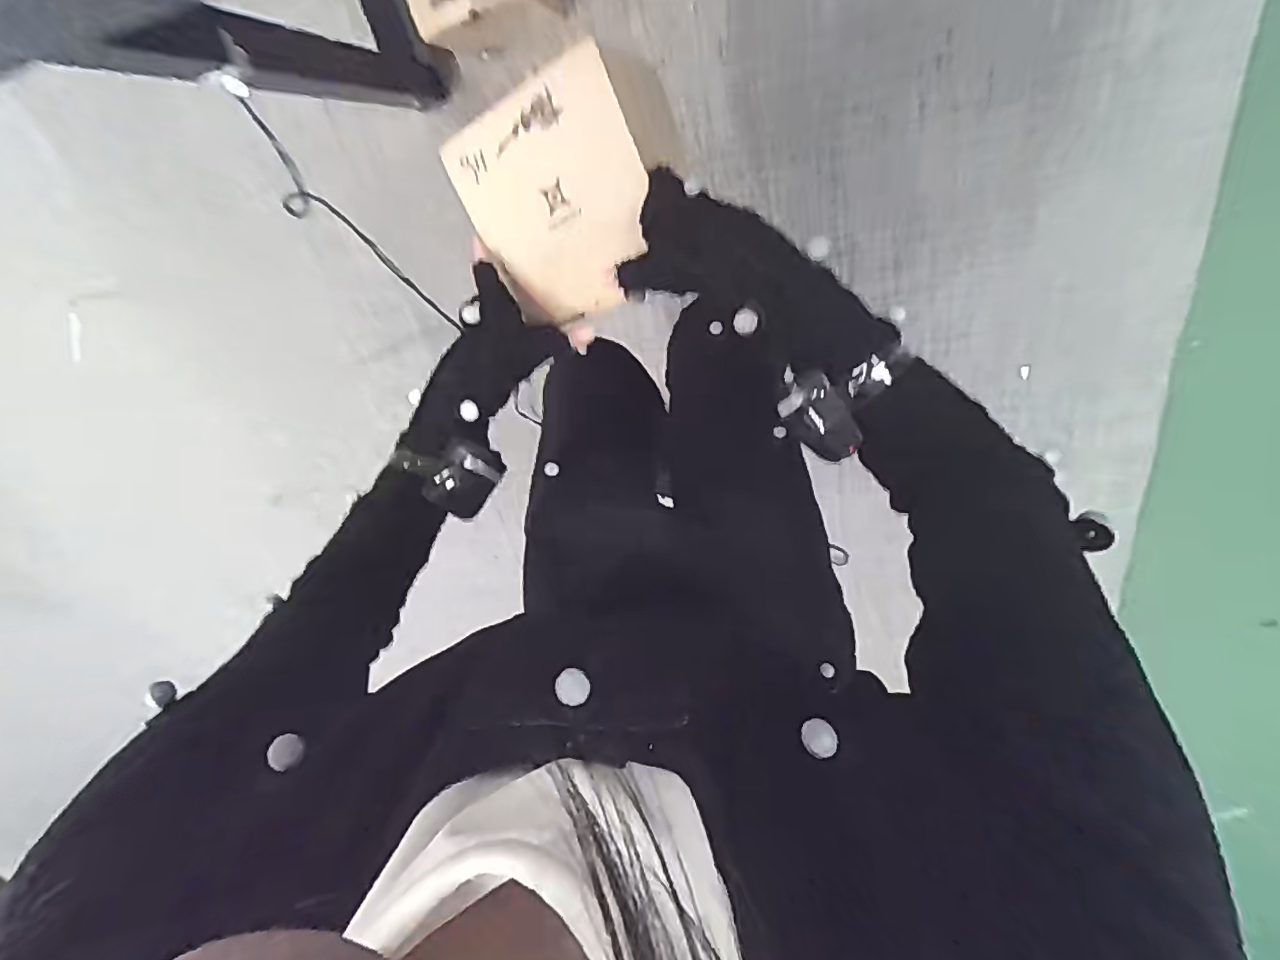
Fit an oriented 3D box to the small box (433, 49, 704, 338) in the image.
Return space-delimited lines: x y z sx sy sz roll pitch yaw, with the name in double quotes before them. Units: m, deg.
"small box" -0.050 -0.266 0.522 0.168 0.176 0.179 -14 114 26
